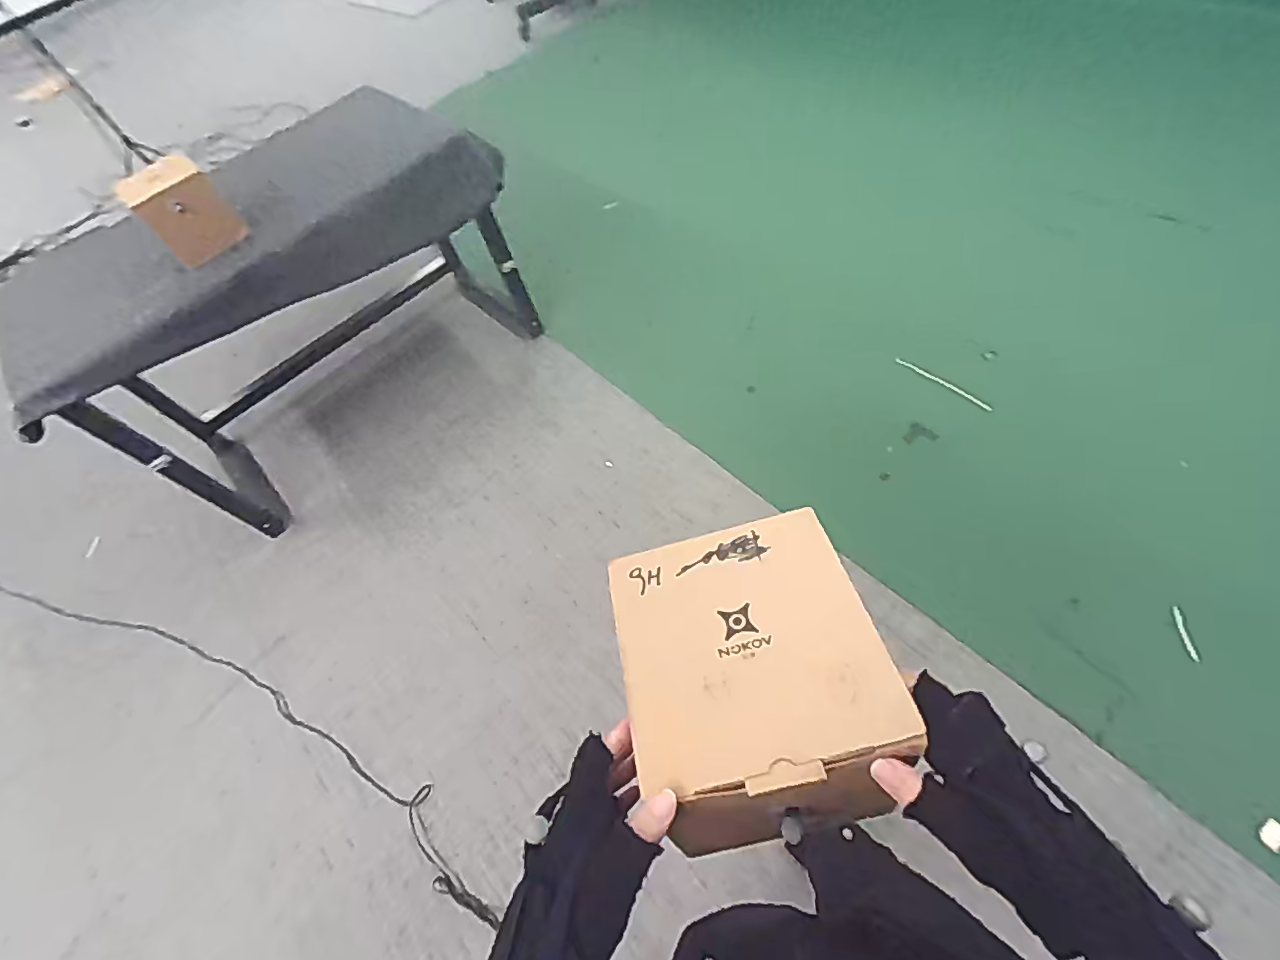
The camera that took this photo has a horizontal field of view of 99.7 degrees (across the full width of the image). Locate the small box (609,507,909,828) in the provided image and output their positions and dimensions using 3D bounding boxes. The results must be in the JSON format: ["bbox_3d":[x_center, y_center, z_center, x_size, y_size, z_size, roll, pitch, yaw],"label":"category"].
[{"bbox_3d":[0.085,0.155,0.430,0.168,0.176,0.179,-16,46,3],"label":"small box"}]

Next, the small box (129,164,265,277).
[{"bbox_3d":[-1.084,-0.636,1.333,0.179,0.176,0.168,-43,61,-17],"label":"small box"}]
